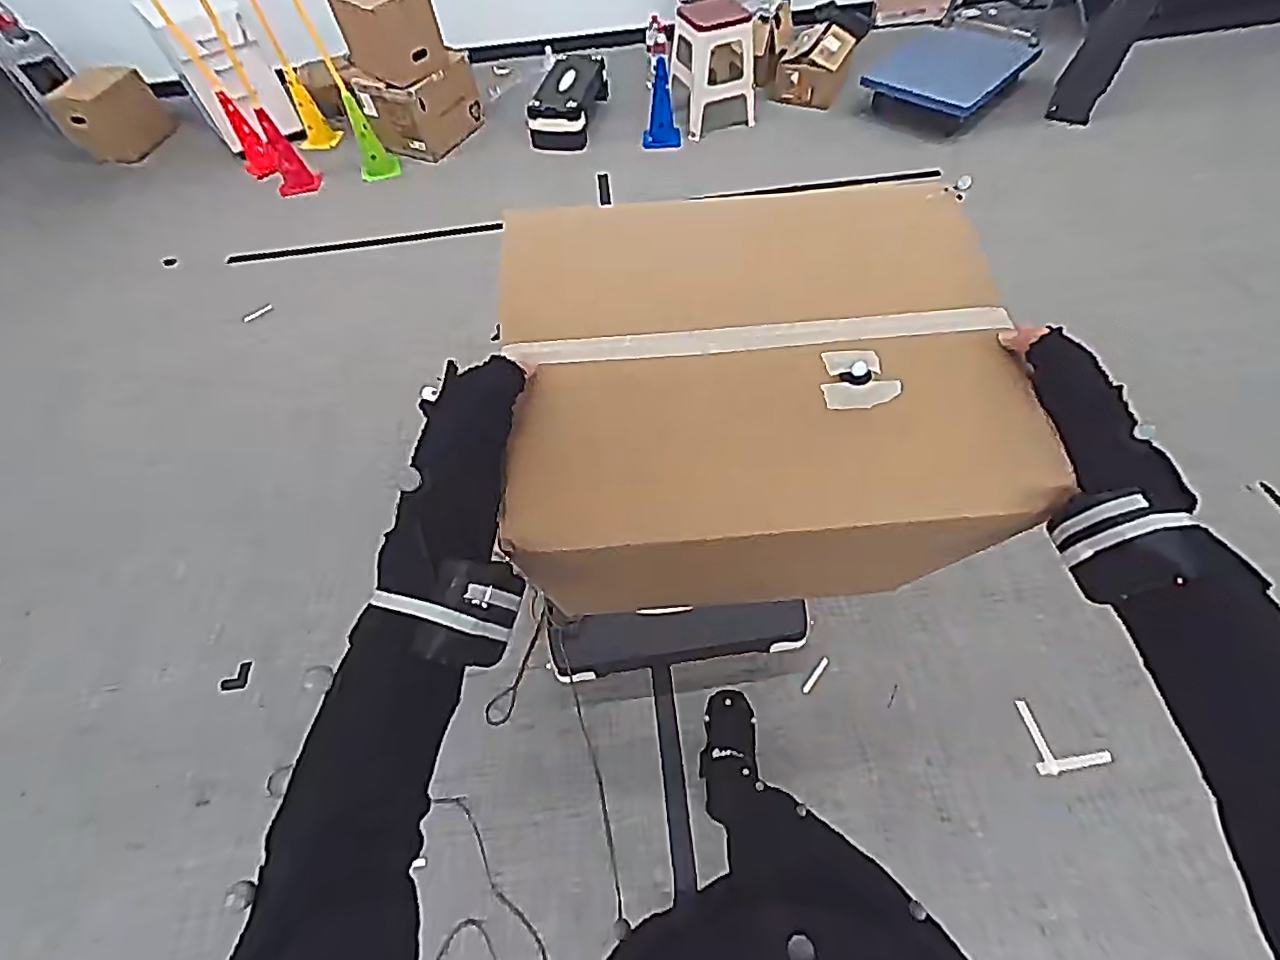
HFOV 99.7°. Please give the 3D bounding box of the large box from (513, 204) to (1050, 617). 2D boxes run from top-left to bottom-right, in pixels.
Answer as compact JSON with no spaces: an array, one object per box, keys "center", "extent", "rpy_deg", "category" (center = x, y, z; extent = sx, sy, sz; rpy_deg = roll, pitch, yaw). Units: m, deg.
[{"center":[0.094,-0.047,0.587],"extent":[0.408,0.320,0.320],"rpy_deg":[-5,68,-1],"category":"large box"}]
